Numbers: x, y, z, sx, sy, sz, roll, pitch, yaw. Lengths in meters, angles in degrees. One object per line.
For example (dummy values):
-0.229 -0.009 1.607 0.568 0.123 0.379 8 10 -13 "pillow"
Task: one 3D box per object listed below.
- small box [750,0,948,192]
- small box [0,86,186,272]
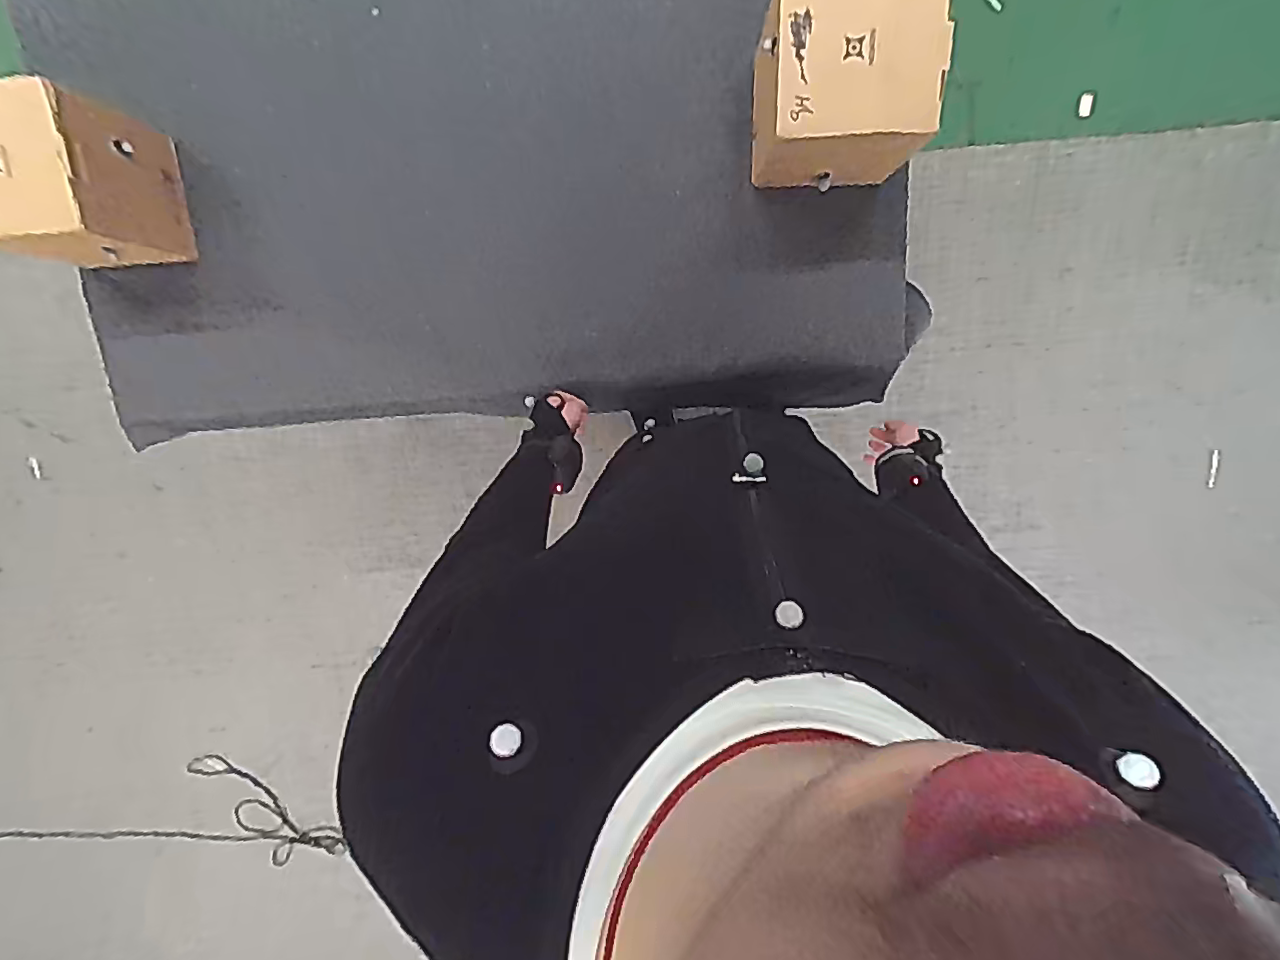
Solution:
0.238 -0.463 0.656 0.179 0.176 0.168 0 102 2 "small box"
-0.737 -0.373 0.700 0.179 0.176 0.168 -1 99 2 "small box"
